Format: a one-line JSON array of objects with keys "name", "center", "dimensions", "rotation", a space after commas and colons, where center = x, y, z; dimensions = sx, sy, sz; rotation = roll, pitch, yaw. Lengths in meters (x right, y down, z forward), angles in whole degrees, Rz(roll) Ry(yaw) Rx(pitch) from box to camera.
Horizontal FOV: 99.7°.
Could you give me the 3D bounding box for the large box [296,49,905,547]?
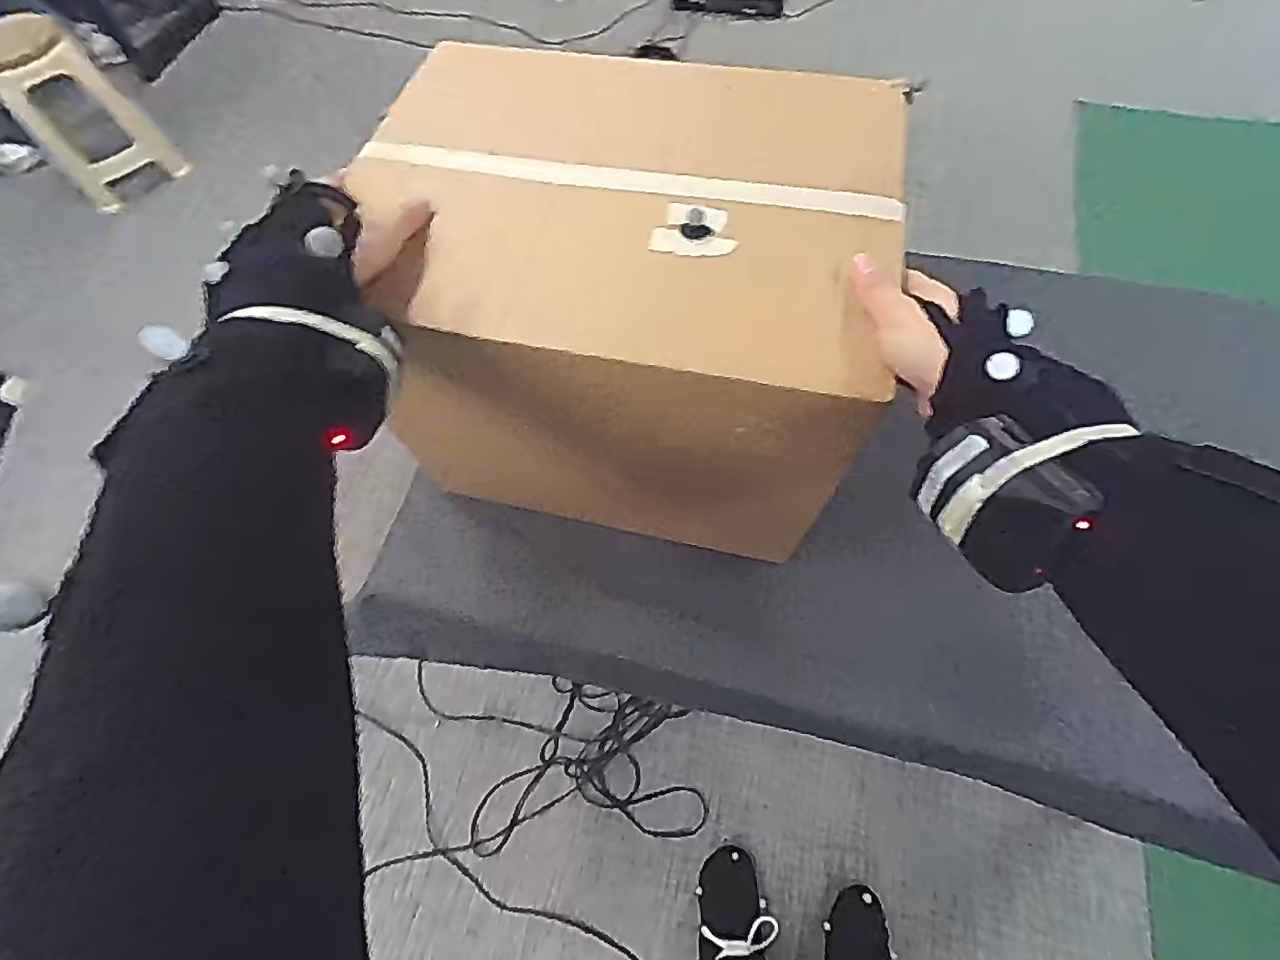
[{"name": "large box", "center": [-0.007, -0.155, 0.536], "dimensions": [0.408, 0.320, 0.320], "rotation": [11, 67, 6]}]
